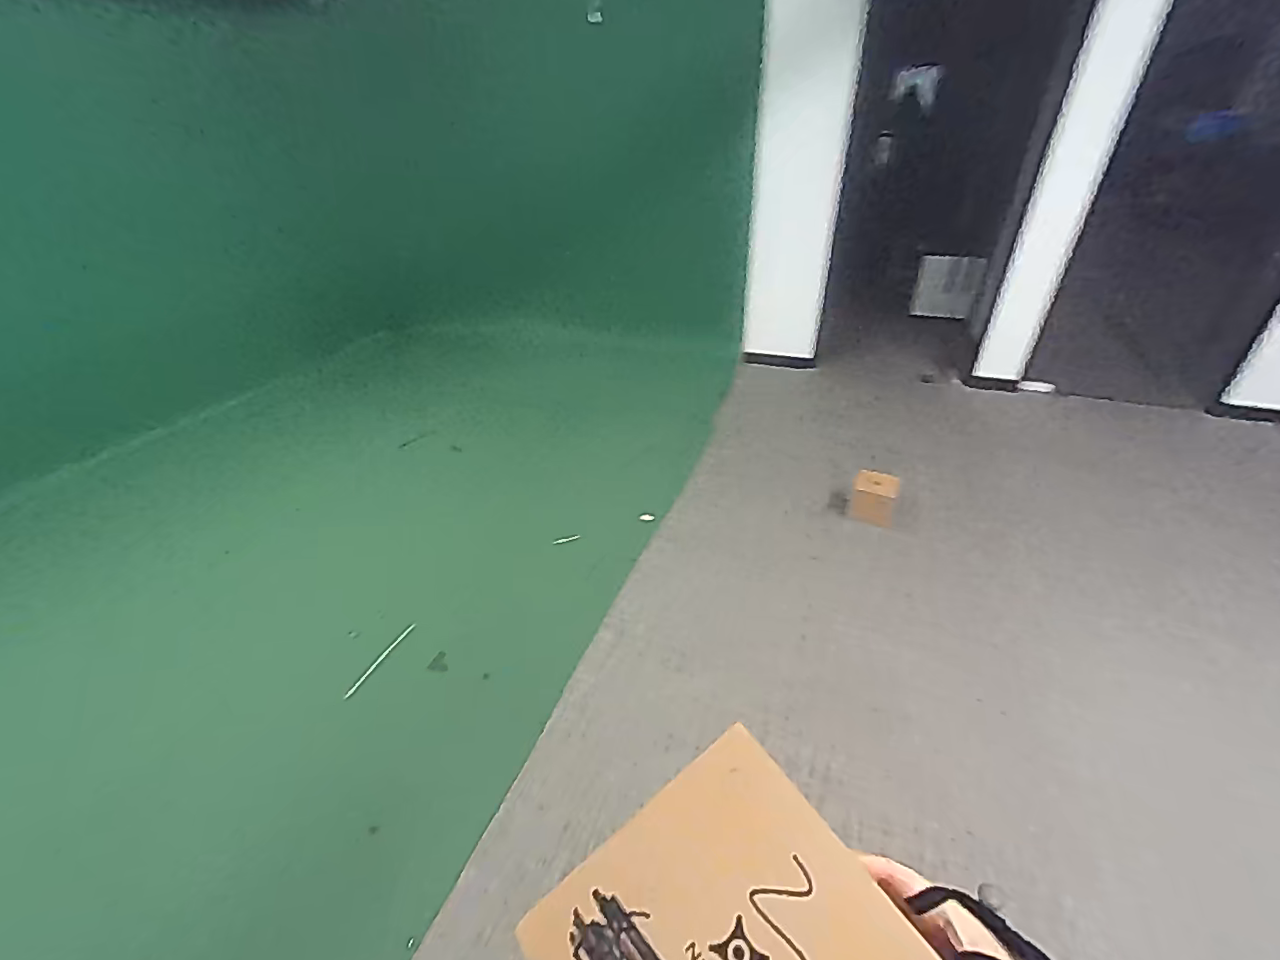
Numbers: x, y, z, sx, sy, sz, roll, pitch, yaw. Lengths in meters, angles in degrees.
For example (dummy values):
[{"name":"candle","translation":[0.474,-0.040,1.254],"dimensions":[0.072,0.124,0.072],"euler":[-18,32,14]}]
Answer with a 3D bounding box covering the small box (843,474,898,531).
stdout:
[{"name":"small box","translation":[1.005,0.102,2.358],"dimensions":[0.179,0.176,0.168],"euler":[15,38,24]}]
